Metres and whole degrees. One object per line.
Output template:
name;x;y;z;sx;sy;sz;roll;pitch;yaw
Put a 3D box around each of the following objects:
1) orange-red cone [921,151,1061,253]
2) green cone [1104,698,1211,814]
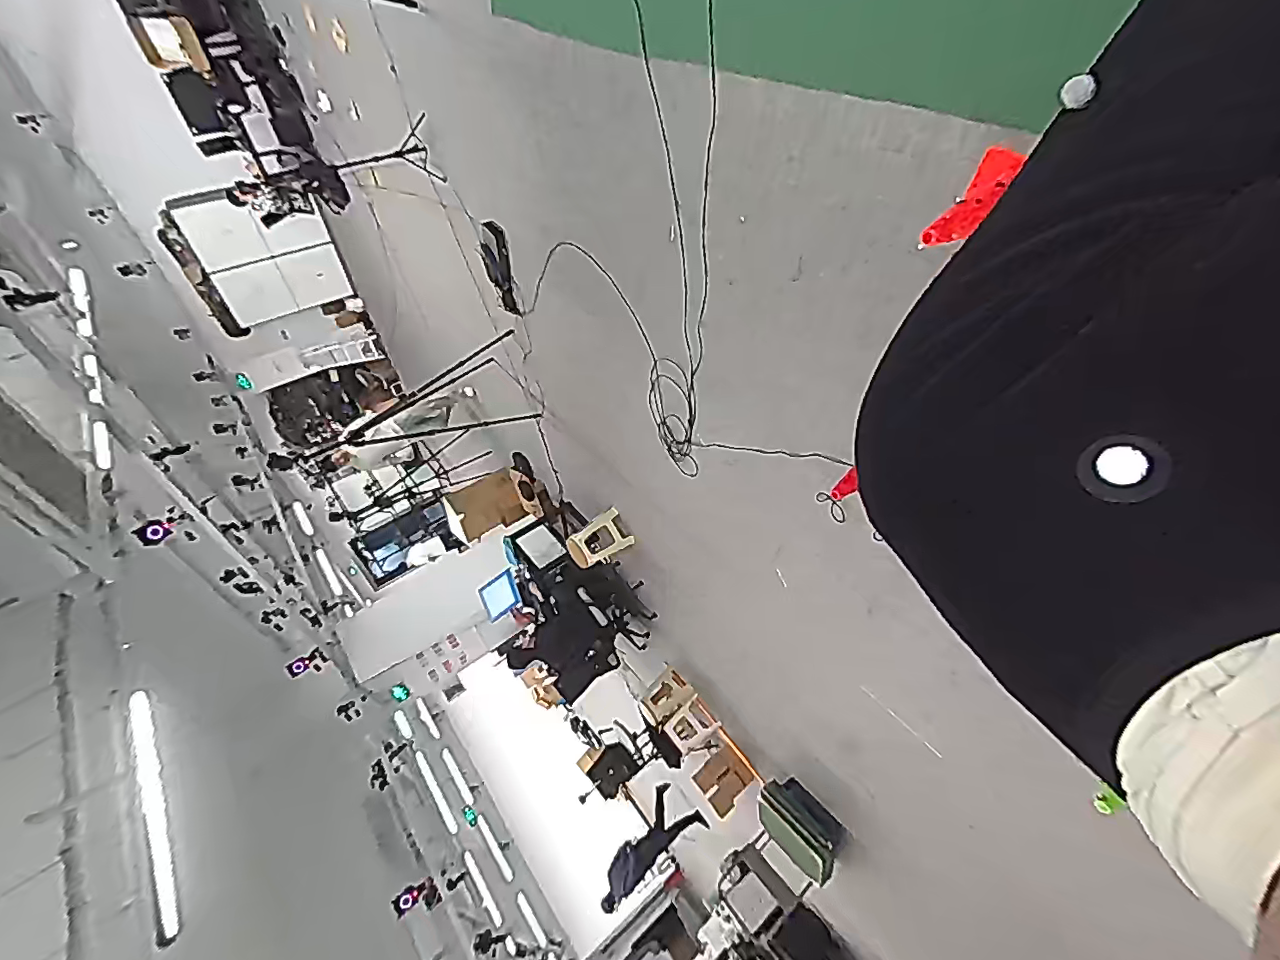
orange-red cone;0.797;-0.633;1.311;0.199;0.360;0.198;47;152;27
green cone;1.527;0.887;1.665;0.200;0.368;0.202;44;150;28
